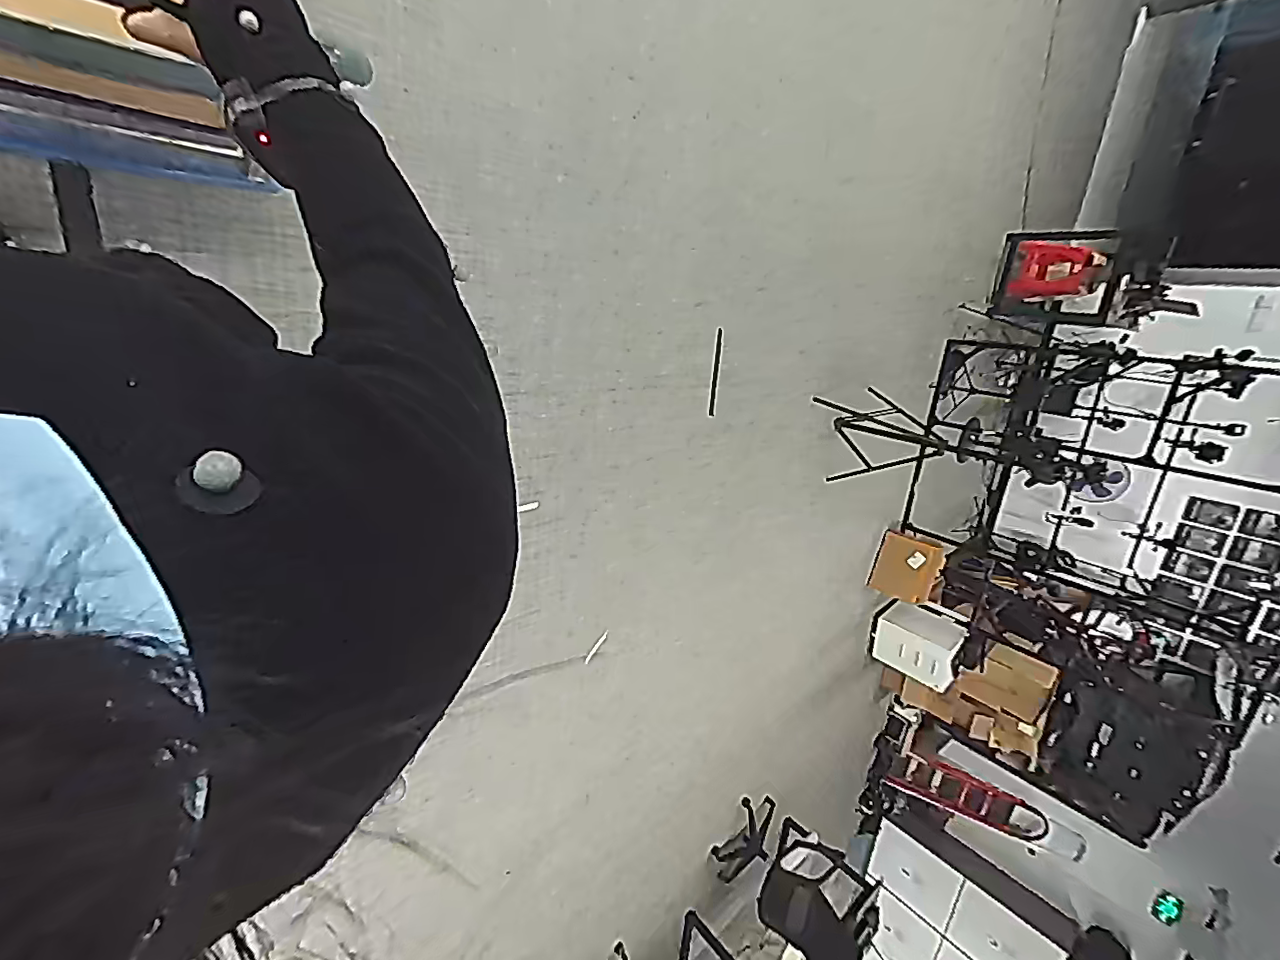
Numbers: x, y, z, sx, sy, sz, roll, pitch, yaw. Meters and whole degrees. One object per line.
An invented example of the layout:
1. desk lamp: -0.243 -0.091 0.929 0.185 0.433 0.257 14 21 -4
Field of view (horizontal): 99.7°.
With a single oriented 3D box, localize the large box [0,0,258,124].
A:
1. large box: -0.762 -0.692 0.668 0.408 0.320 0.320 -12 115 -42
